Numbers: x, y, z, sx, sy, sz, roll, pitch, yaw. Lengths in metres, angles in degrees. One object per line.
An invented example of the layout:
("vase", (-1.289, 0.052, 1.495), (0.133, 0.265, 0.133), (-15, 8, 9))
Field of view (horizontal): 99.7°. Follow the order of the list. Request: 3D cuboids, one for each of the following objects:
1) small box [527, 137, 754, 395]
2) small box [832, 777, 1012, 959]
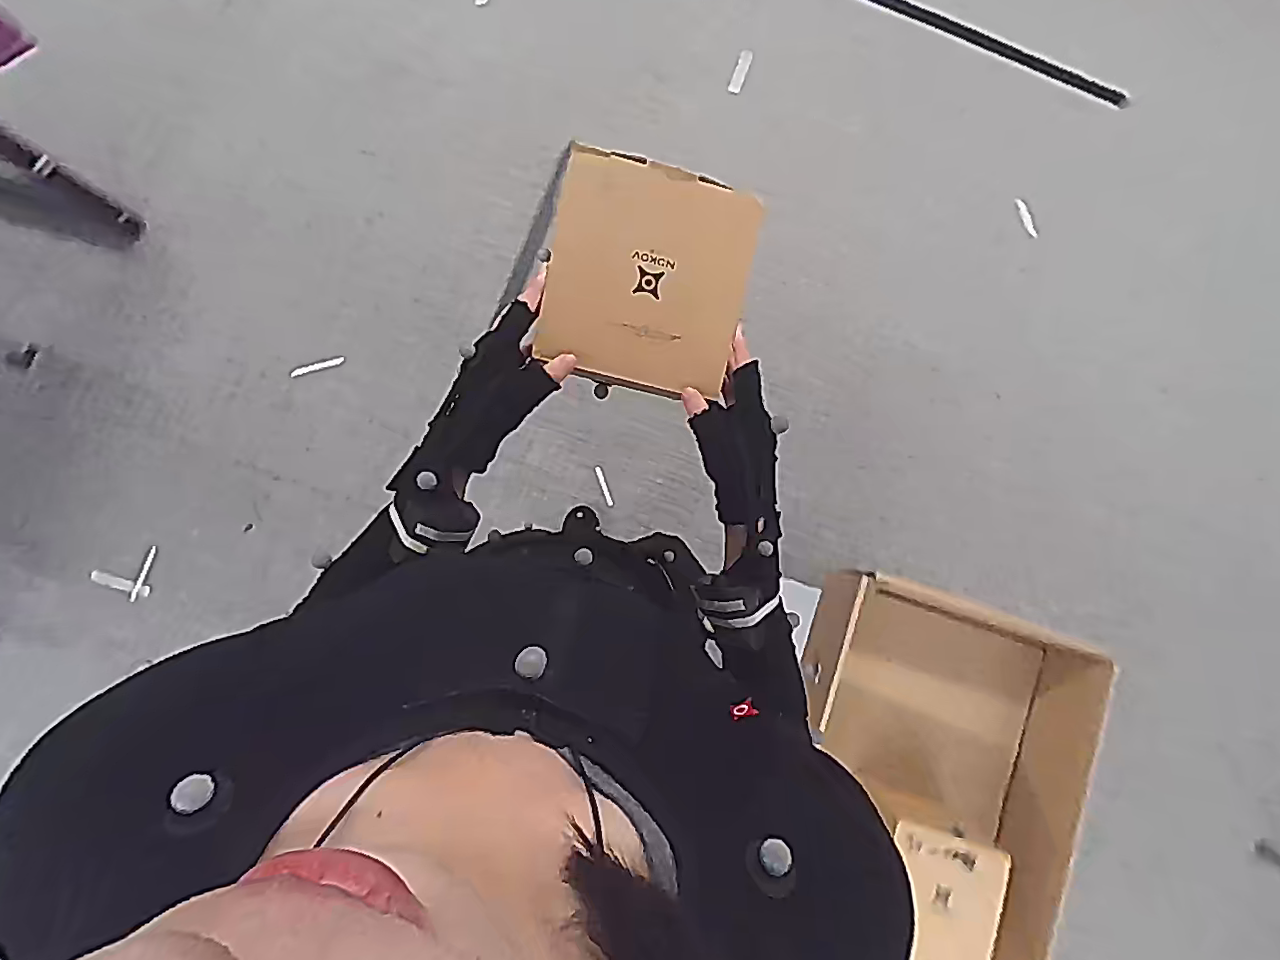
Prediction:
("small box", (-0.009, -0.184, 0.525), (0.168, 0.176, 0.179), (10, 97, -8))
("small box", (0.411, 0.594, 0.820), (0.168, 0.176, 0.179), (19, 83, 2))
